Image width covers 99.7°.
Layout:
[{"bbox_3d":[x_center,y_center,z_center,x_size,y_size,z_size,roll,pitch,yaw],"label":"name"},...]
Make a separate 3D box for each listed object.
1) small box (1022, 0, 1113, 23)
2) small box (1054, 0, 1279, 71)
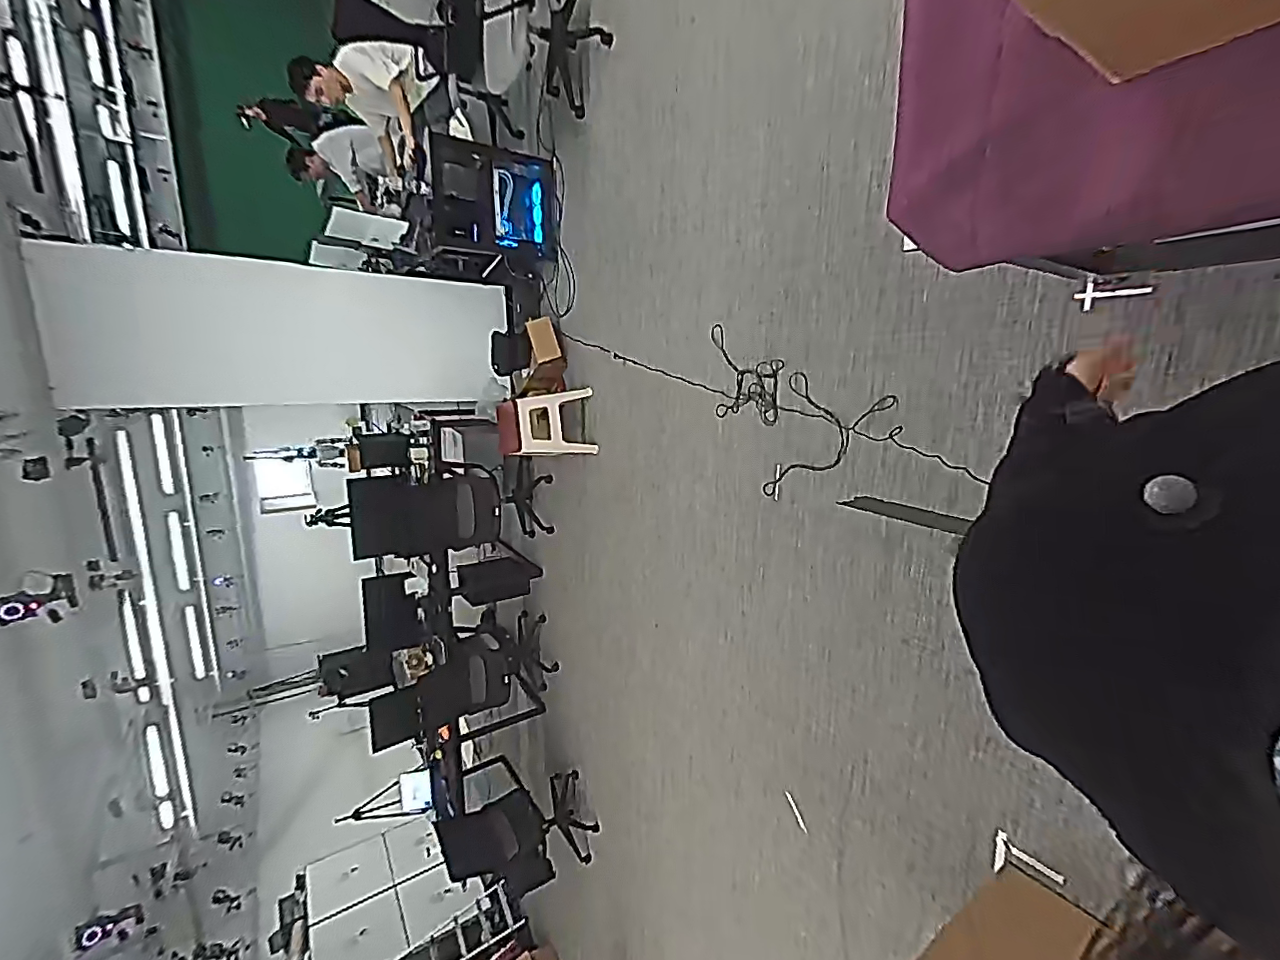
[{"bbox_3d":[0.375,-0.490,0.389,0.179,0.176,0.168,12,105,55],"label":"small box"},{"bbox_3d":[0.511,-0.512,0.480,0.179,0.176,0.168,11,105,55],"label":"small box"}]
